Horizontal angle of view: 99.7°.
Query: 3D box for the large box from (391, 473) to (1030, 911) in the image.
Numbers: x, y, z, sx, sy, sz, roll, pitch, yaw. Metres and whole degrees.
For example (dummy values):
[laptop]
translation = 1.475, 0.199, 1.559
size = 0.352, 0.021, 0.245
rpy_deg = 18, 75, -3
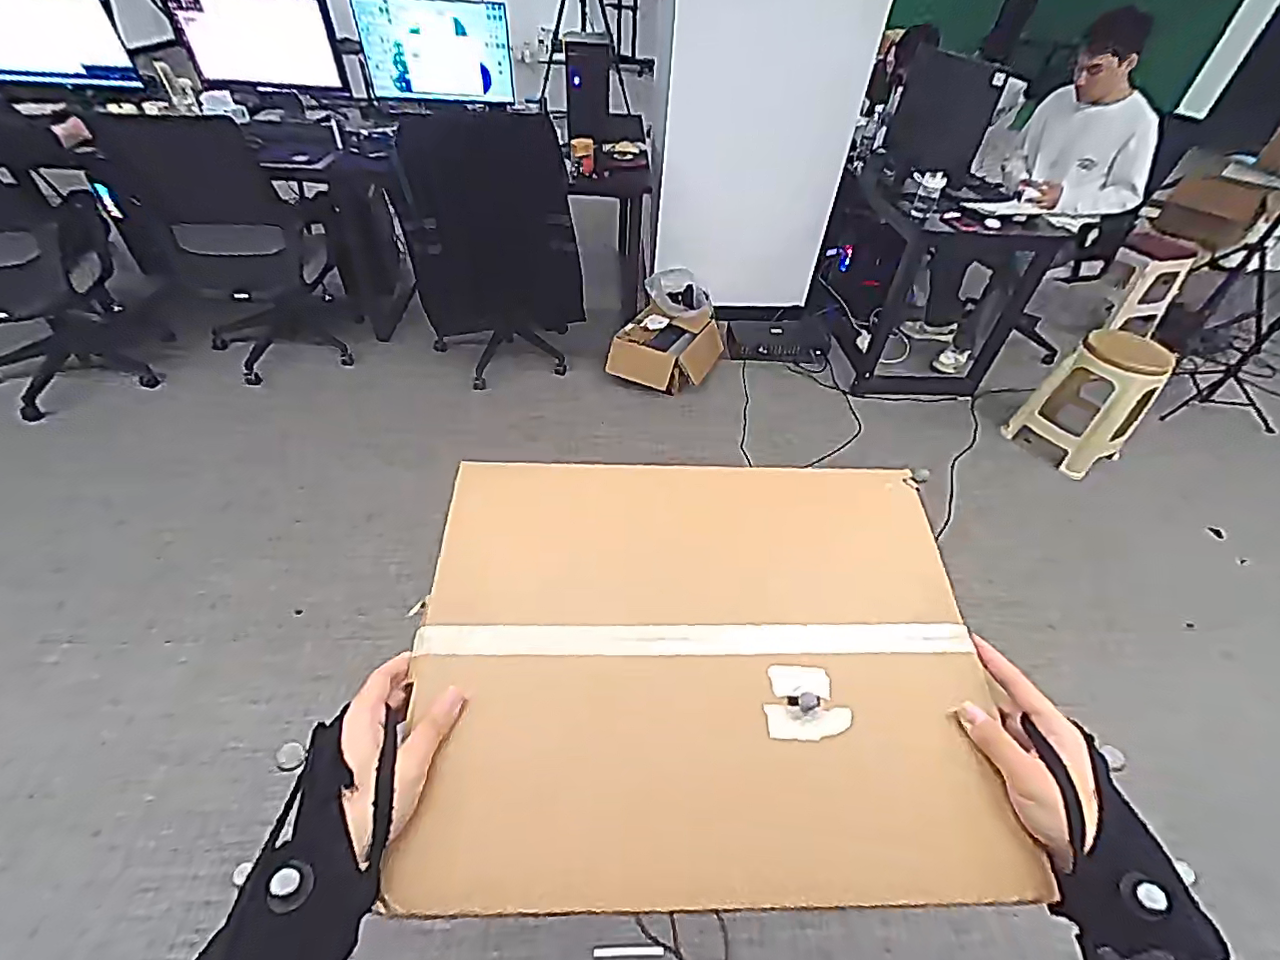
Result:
[large box]
translation = 0.036, 0.205, 0.532
size = 0.408, 0.320, 0.320
rpy_deg = 1, 57, -3
